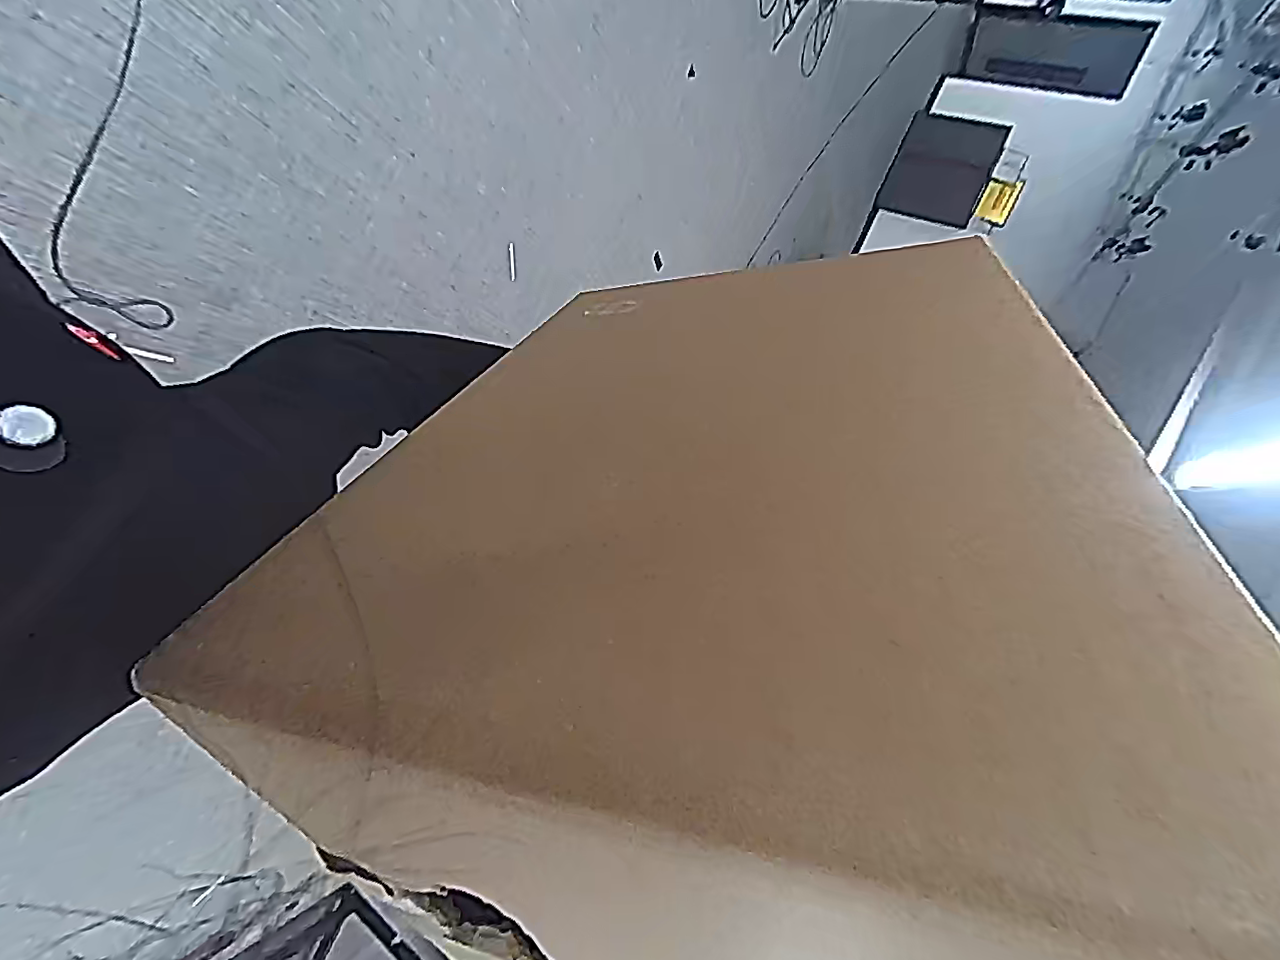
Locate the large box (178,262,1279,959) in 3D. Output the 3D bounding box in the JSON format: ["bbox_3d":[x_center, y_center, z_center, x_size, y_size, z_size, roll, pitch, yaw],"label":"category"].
[{"bbox_3d":[0.062,0.077,0.366,0.408,0.320,0.320,-62,147,-49],"label":"large box"}]
